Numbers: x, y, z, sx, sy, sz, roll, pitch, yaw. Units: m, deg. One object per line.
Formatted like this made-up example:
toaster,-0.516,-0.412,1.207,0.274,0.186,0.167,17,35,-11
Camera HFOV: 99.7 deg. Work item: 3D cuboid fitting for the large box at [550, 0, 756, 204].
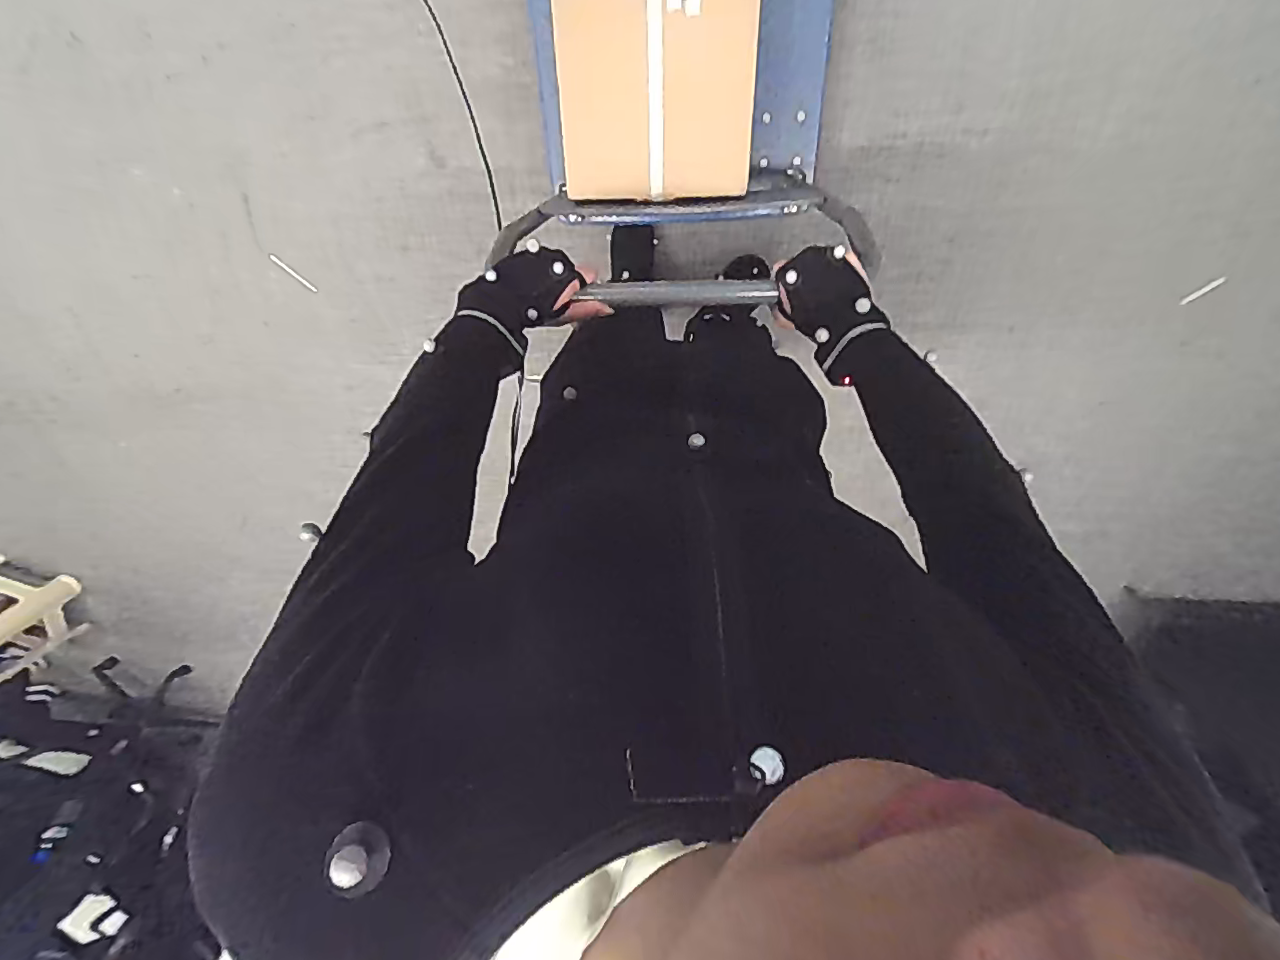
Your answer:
large box,0.034,-0.732,0.970,0.320,0.320,0.408,1,120,5
